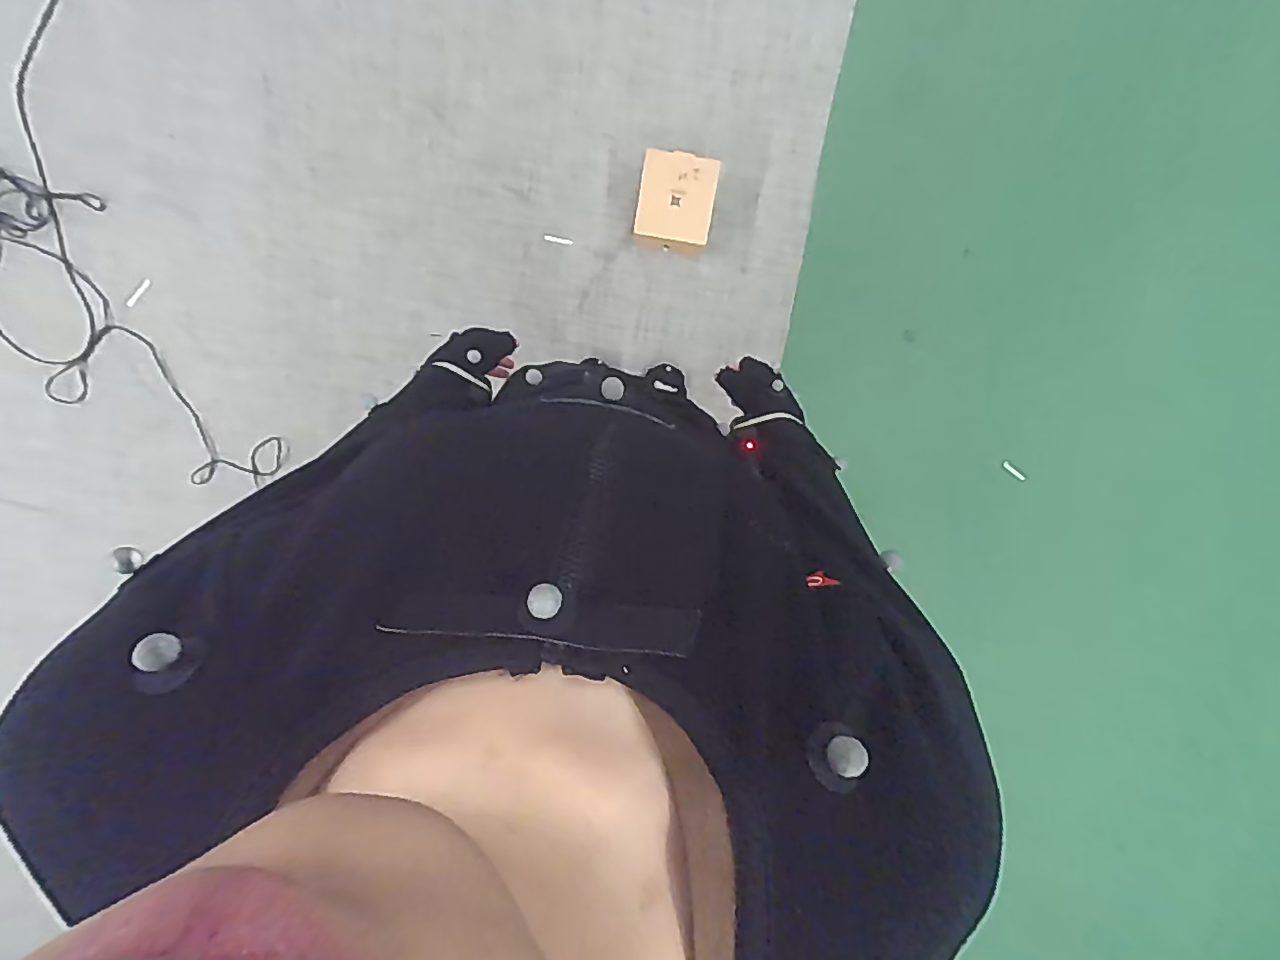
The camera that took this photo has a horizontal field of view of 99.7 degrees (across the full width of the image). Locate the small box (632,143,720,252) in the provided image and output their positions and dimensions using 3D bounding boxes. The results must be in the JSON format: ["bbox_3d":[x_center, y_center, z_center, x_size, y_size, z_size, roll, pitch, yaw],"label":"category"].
[{"bbox_3d":[0.079,-0.637,1.242,0.168,0.176,0.179,9,104,-2],"label":"small box"}]
